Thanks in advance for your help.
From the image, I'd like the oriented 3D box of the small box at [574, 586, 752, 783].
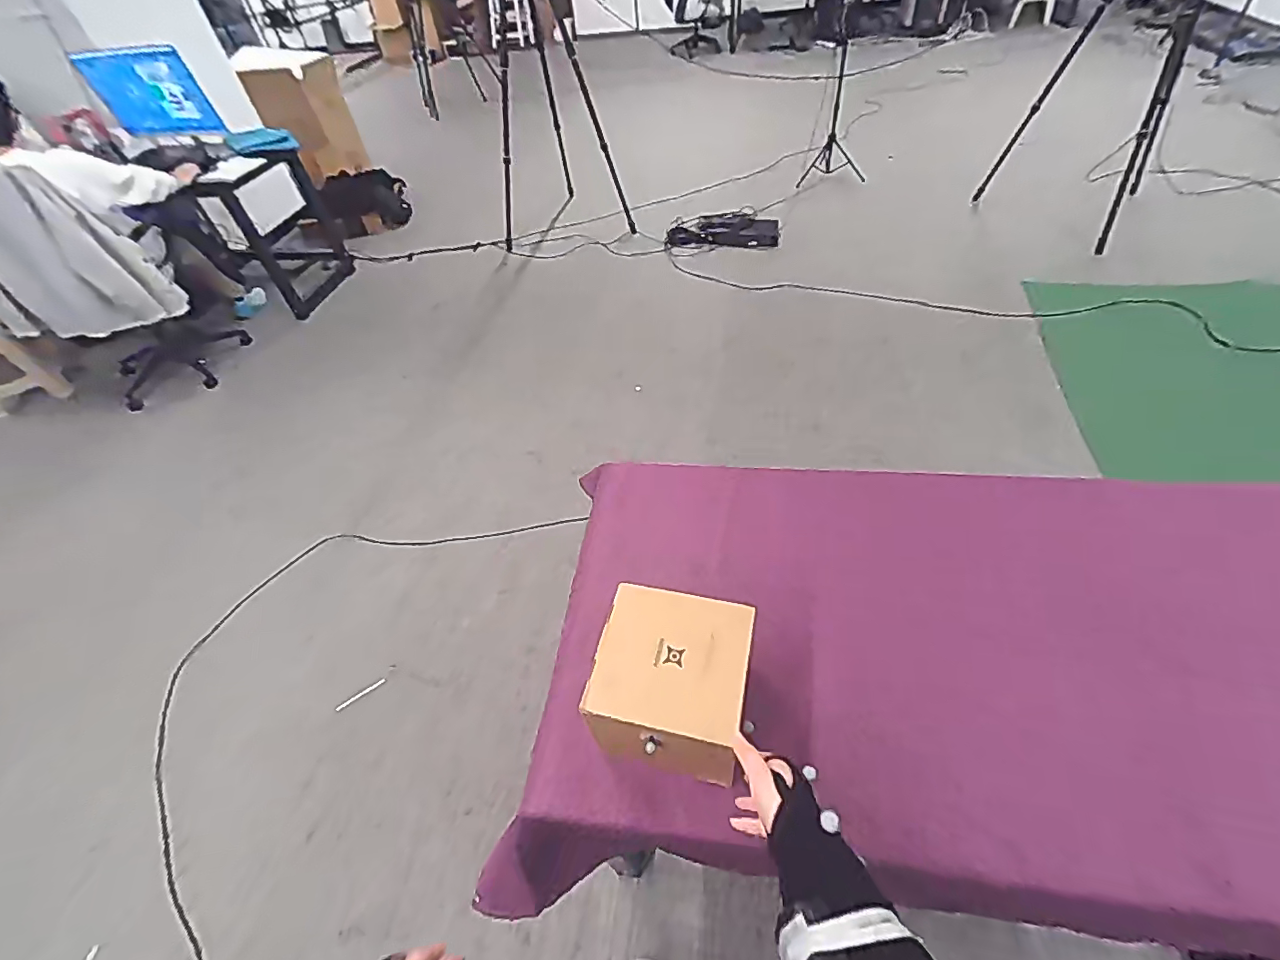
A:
[{"bbox_3d":[0.038,0.259,0.683,0.179,0.176,0.168,8,50,14],"label":"small box"}]
